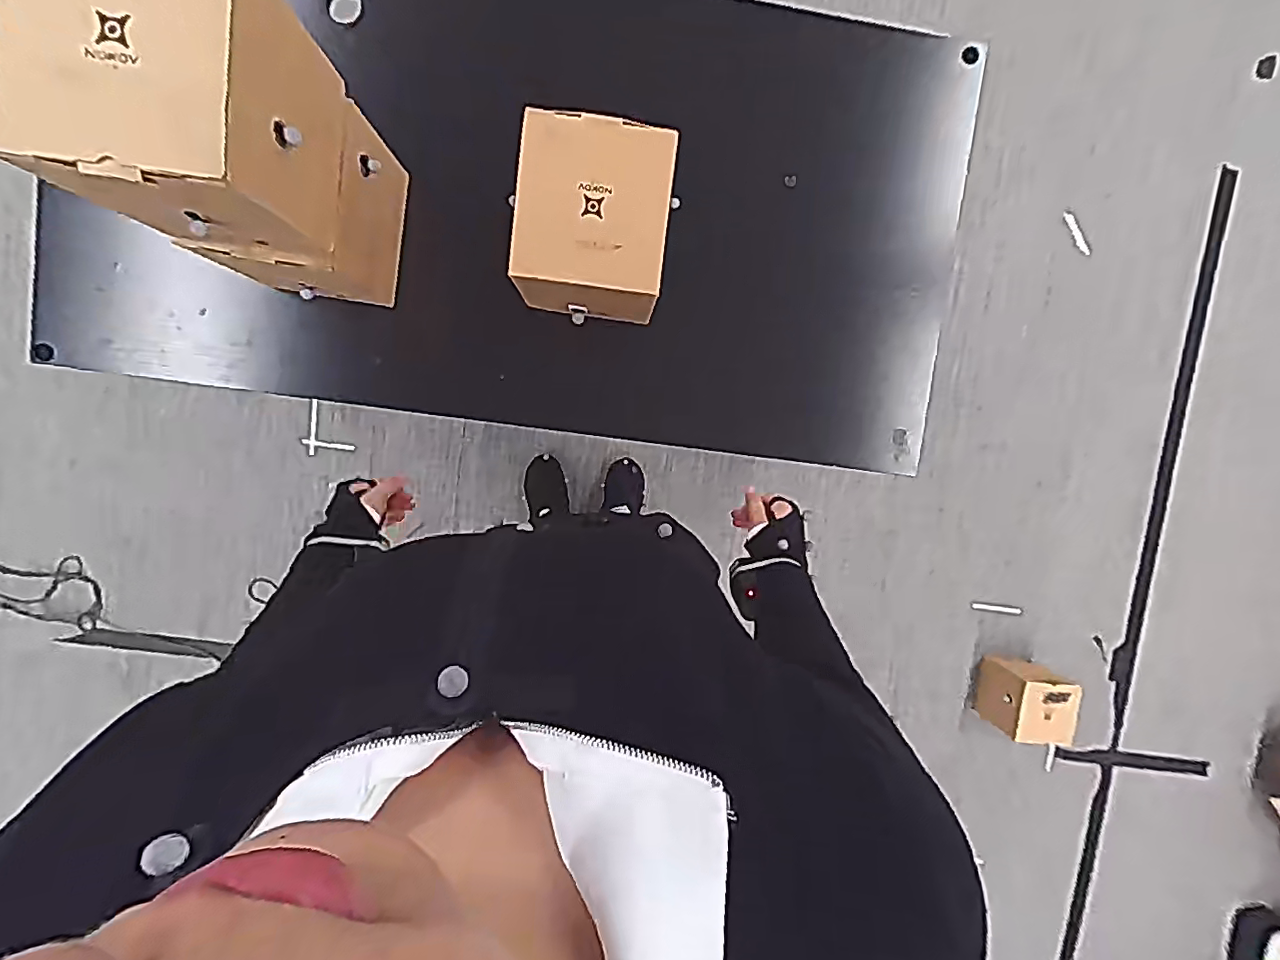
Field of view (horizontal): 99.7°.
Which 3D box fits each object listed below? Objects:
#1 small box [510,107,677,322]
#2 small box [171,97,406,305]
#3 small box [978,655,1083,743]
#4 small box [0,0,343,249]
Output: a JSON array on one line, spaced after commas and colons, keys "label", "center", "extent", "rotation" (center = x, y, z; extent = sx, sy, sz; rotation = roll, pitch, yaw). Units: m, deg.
[{"label": "small box", "center": [-0.054, -0.305, 0.658], "extent": [0.168, 0.176, 0.179], "rotation": [6, 95, -3]}, {"label": "small box", "center": [-0.391, -0.324, 0.633], "extent": [0.168, 0.176, 0.179], "rotation": [9, 94, -4]}, {"label": "small box", "center": [1.103, 0.616, 1.541], "extent": [0.168, 0.176, 0.179], "rotation": [6, 95, -4]}, {"label": "small box", "center": [-0.382, -0.319, 0.469], "extent": [0.168, 0.176, 0.179], "rotation": [6, 95, -4]}]
